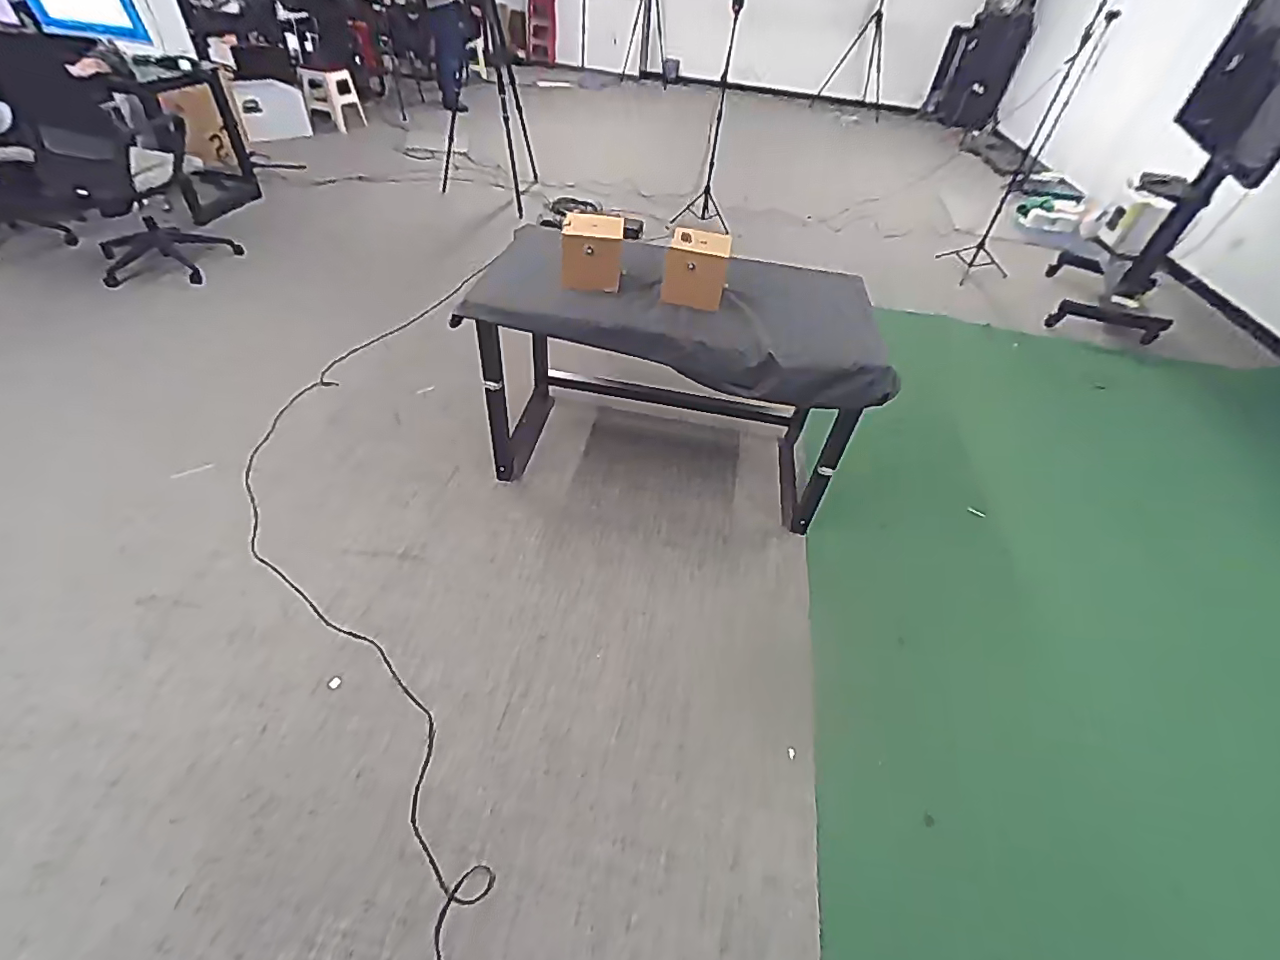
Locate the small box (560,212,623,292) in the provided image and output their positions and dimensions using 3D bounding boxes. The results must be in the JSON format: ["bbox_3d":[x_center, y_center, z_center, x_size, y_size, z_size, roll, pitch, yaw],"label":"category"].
[{"bbox_3d":[-0.146,-0.689,1.640,0.179,0.176,0.168,4,46,-4],"label":"small box"}]

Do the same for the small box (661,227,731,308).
[{"bbox_3d":[0.166,-0.634,1.621,0.179,0.176,0.168,12,45,4],"label":"small box"}]
